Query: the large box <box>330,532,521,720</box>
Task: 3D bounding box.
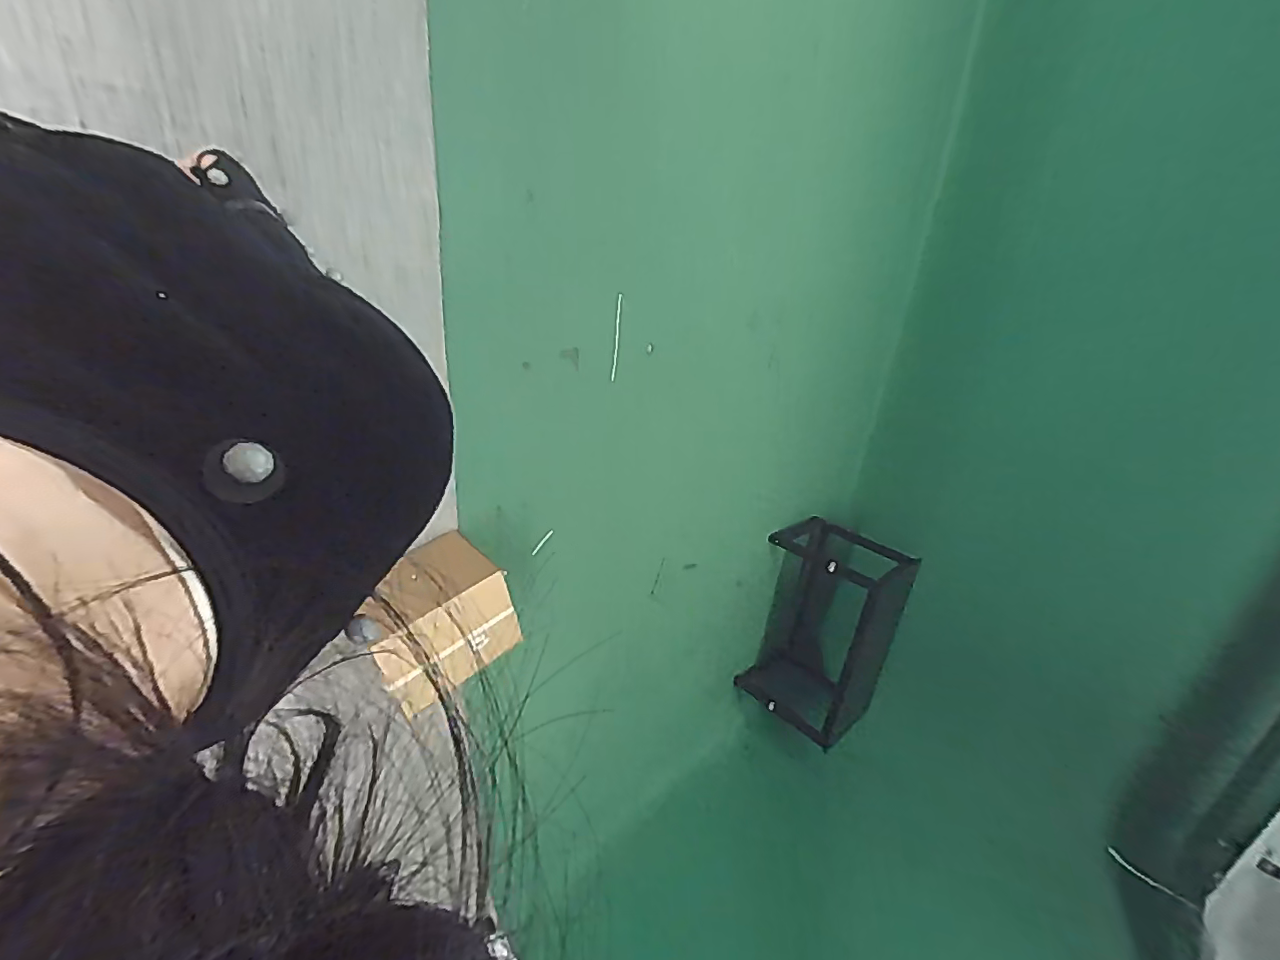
[{"bbox_3d":[-0.647,0.426,1.663,0.408,0.320,0.320,-32,131,-34],"label":"large box"}]
